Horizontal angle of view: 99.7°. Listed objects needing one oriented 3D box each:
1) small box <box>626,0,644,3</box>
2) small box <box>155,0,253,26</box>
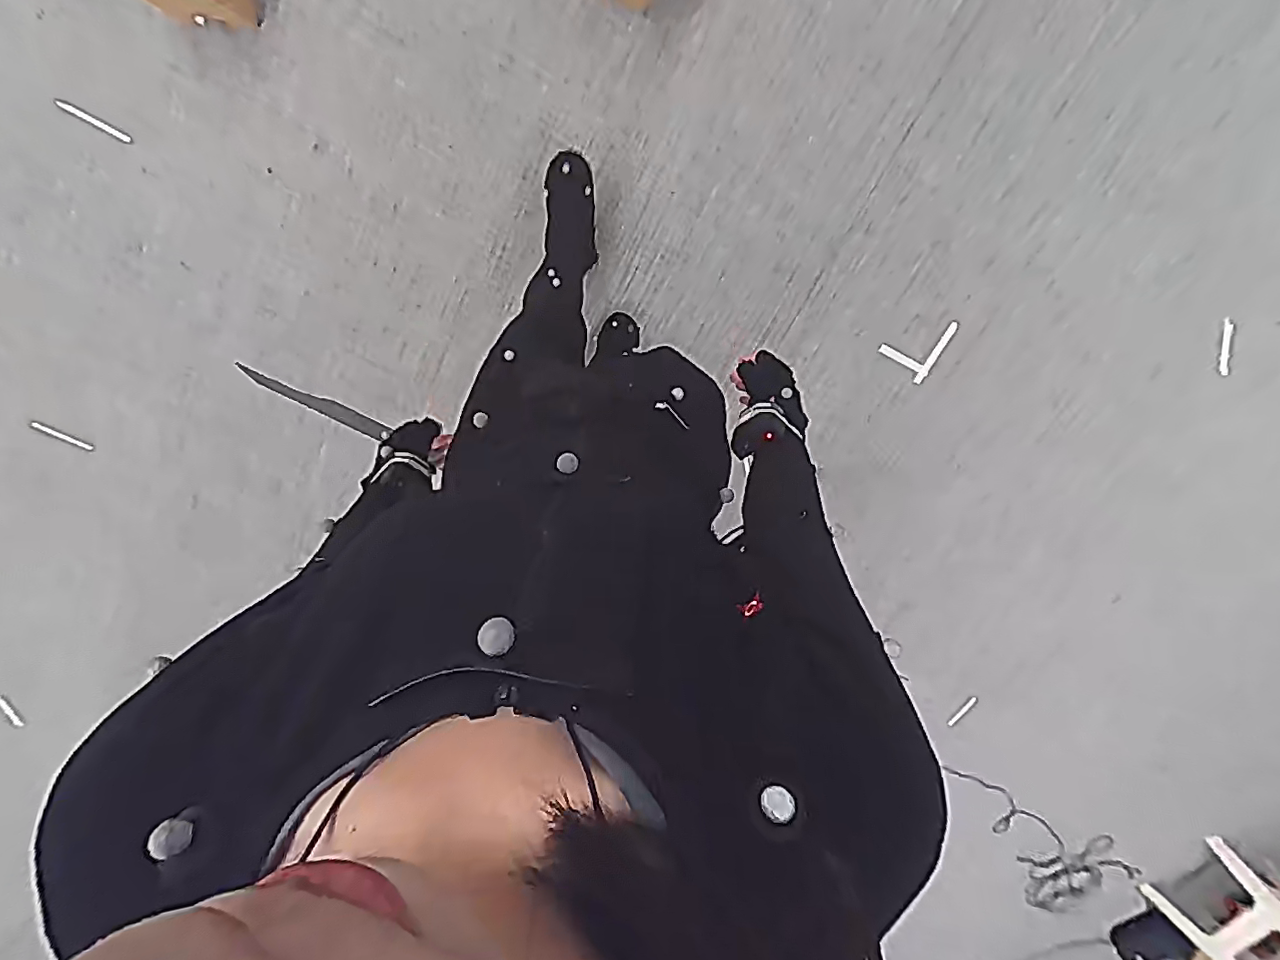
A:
[{"bbox_3d":[-0.012,-1.081,1.043,0.179,0.176,0.168,39,104,-14],"label":"small box"},{"bbox_3d":[-0.883,-1.017,1.032,0.168,0.176,0.179,5,112,-4],"label":"small box"}]
